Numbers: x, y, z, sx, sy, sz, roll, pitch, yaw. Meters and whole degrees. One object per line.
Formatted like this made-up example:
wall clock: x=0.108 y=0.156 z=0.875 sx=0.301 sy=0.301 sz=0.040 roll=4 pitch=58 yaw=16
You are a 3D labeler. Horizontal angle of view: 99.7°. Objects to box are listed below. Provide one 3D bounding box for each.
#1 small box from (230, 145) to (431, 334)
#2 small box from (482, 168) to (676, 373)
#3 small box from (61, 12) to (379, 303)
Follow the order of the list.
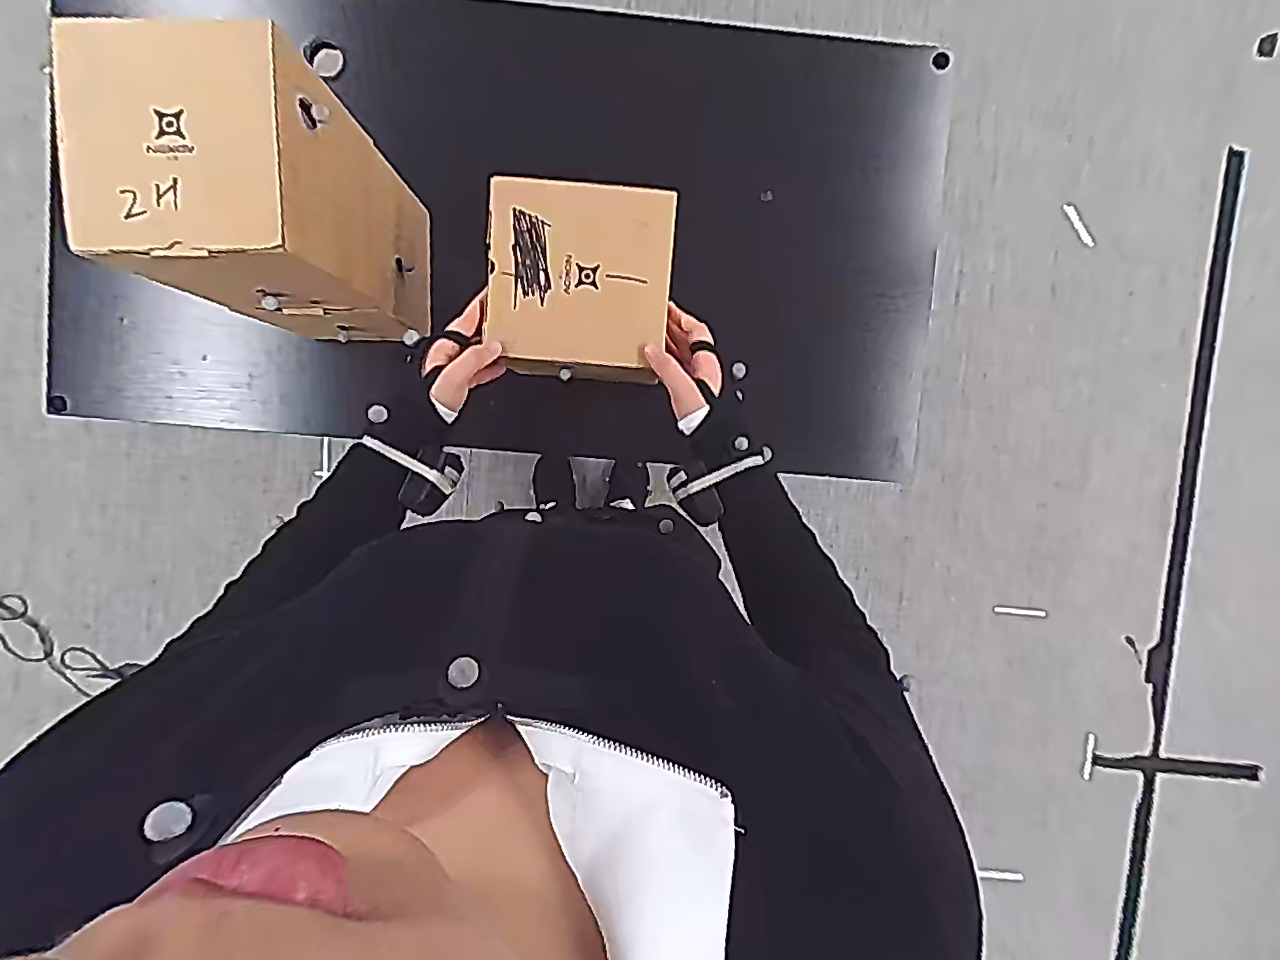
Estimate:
small box: x=-0.366 y=-0.281 z=0.664 sx=0.168 sy=0.176 sz=0.179 roll=0 pitch=94 yaw=-2
small box: x=-0.059 y=-0.213 z=0.593 sx=0.179 sy=0.176 sz=0.168 roll=4 pitch=96 yaw=-1
small box: x=-0.361 y=-0.275 z=0.498 sx=0.168 sy=0.176 sz=0.179 roll=-1 pitch=94 yaw=-1
